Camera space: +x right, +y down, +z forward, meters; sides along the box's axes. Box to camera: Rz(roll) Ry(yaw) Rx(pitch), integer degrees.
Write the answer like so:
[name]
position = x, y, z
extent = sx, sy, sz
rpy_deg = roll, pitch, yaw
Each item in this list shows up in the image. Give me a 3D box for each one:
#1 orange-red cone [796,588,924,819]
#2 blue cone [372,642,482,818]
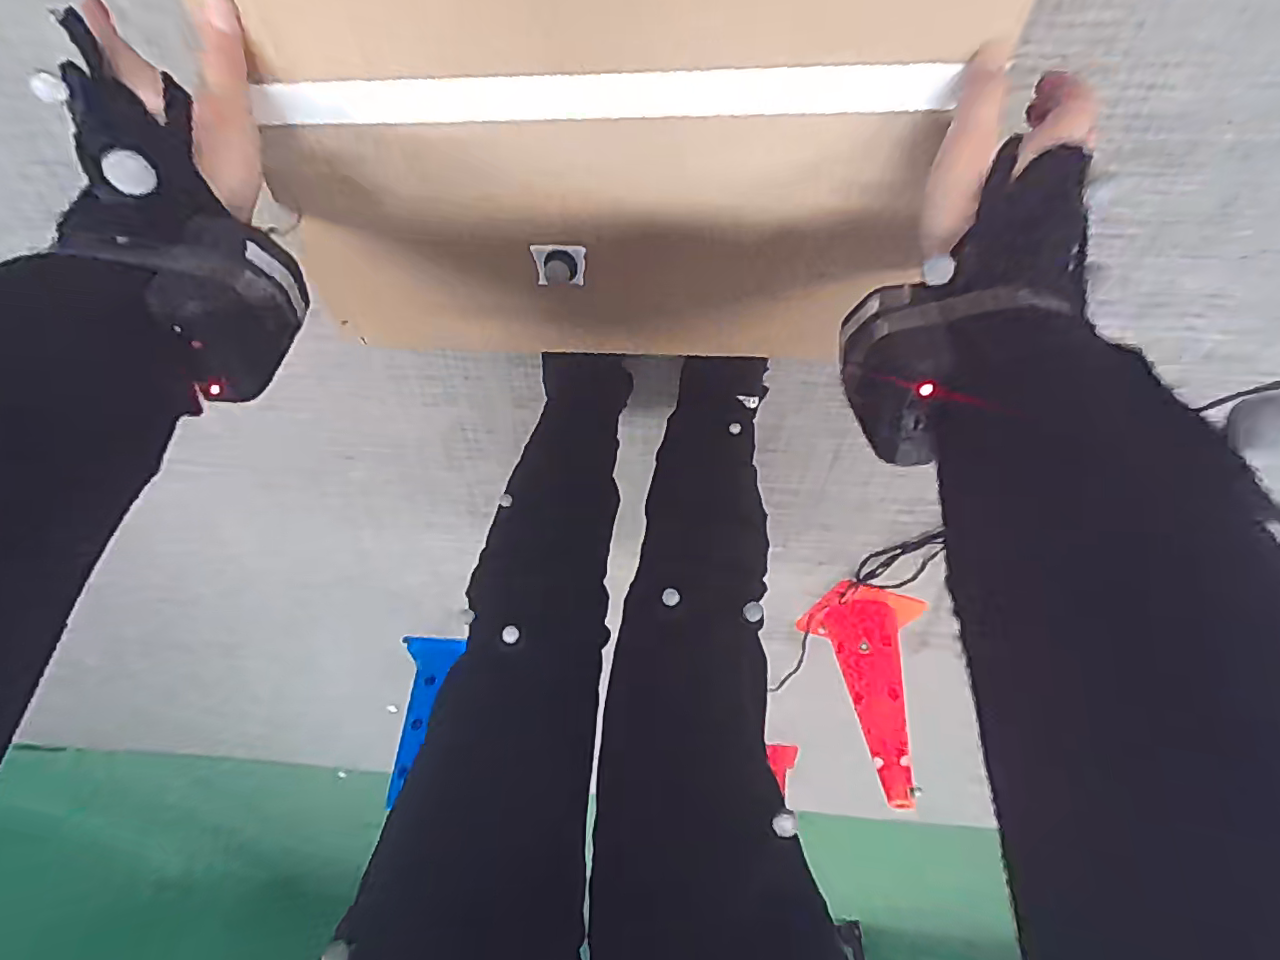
[orange-red cone]
position = 0.433, 0.409, 0.984
extent = 0.199, 0.360, 0.198
rpy_deg = 17, 134, -11
[blue cone]
position = -0.530, 0.592, 1.294
extent = 0.192, 0.380, 0.193
rpy_deg = 4, 133, 4
